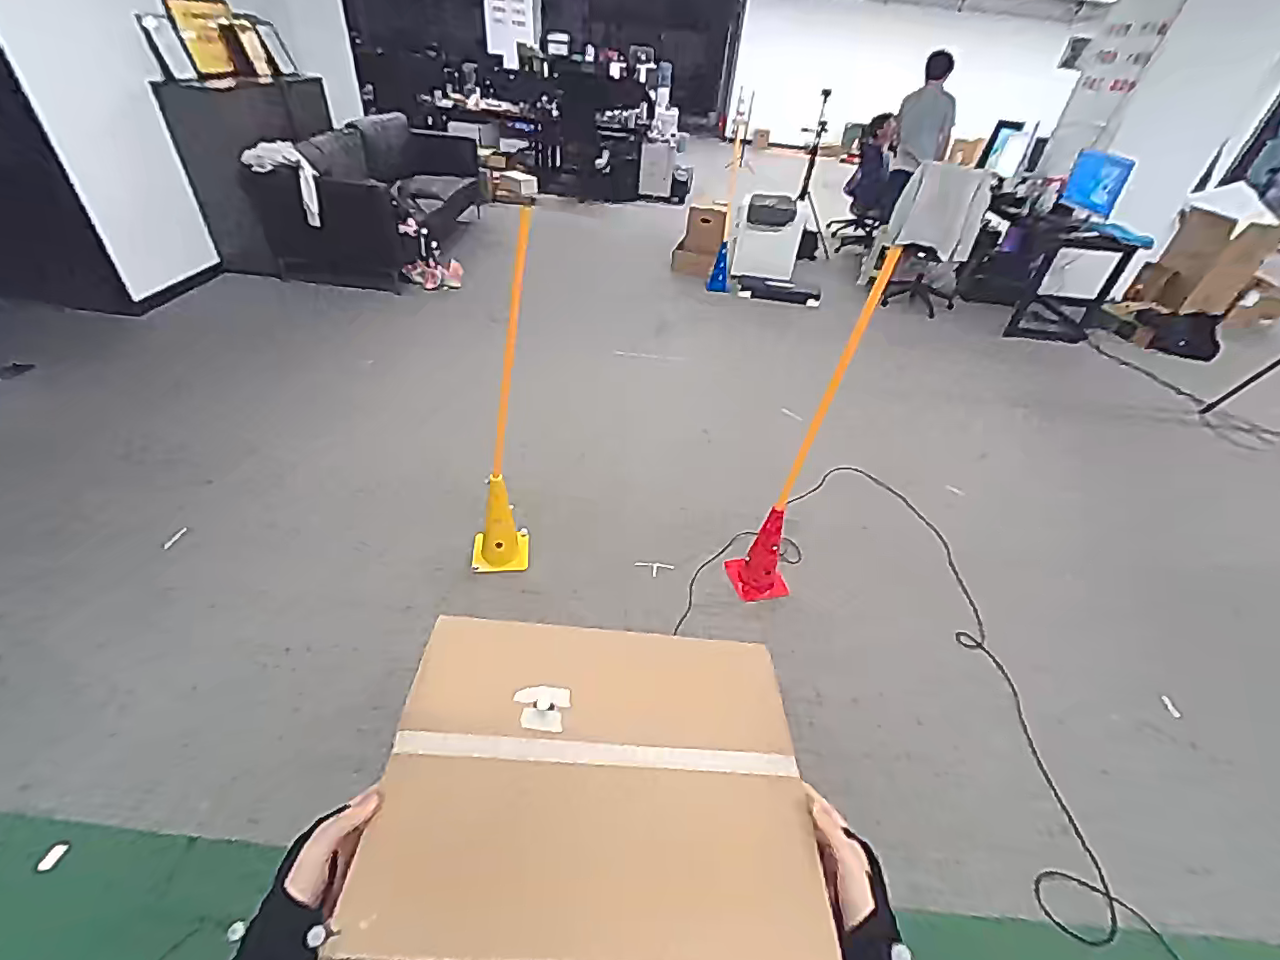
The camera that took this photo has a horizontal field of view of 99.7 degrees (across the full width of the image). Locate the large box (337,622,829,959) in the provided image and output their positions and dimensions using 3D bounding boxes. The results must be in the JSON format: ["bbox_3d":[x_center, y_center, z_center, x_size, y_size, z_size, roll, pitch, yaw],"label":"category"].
[{"bbox_3d":[-0.058,0.398,0.638,0.408,0.320,0.320,6,37,-5],"label":"large box"}]
